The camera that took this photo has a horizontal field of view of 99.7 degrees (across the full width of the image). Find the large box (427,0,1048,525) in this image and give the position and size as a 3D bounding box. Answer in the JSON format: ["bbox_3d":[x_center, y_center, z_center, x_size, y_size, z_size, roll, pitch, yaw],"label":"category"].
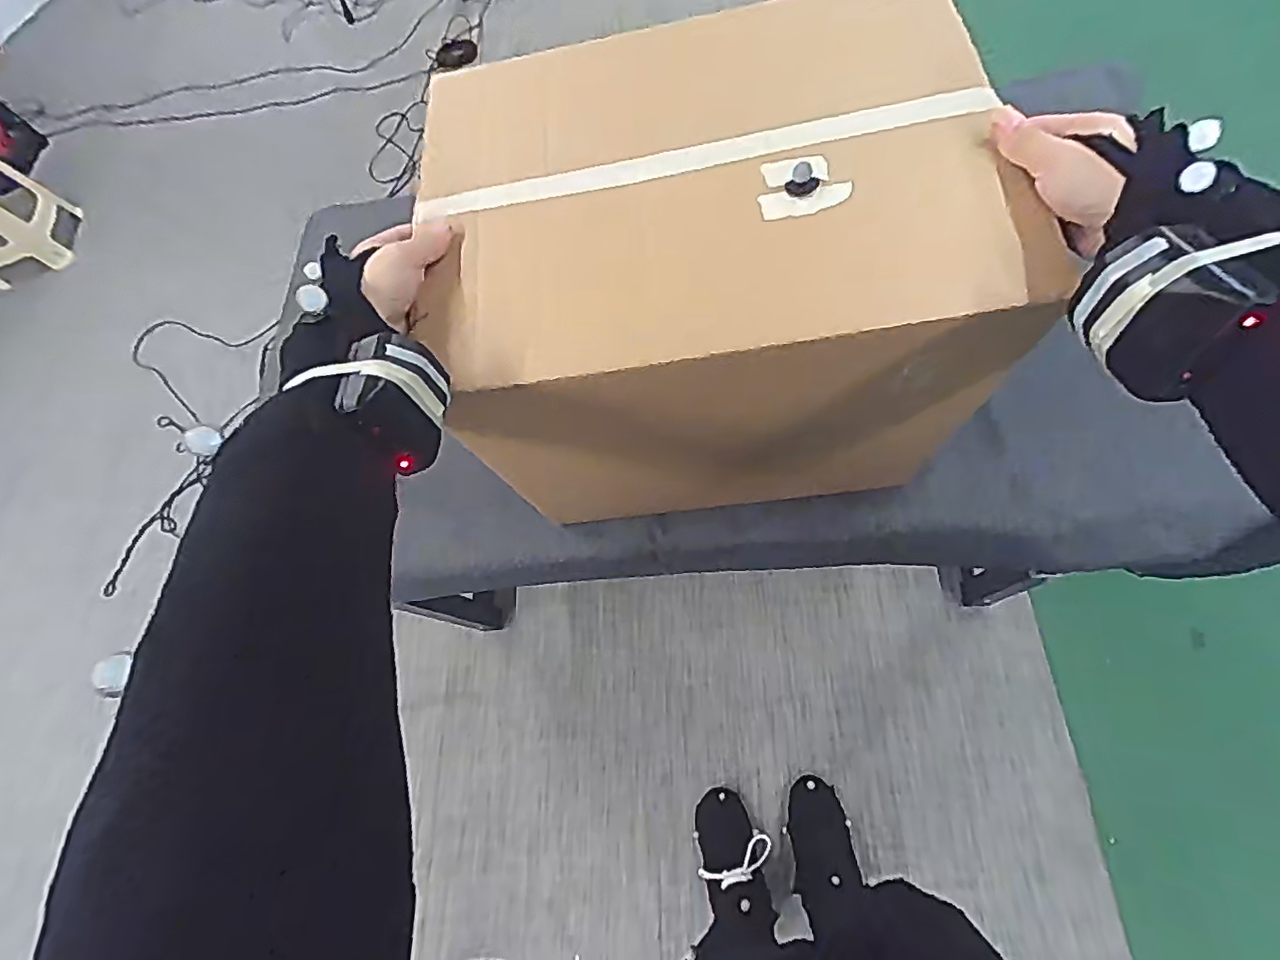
[{"bbox_3d":[0.057,-0.166,0.534,0.408,0.320,0.320,-8,69,6],"label":"large box"}]
